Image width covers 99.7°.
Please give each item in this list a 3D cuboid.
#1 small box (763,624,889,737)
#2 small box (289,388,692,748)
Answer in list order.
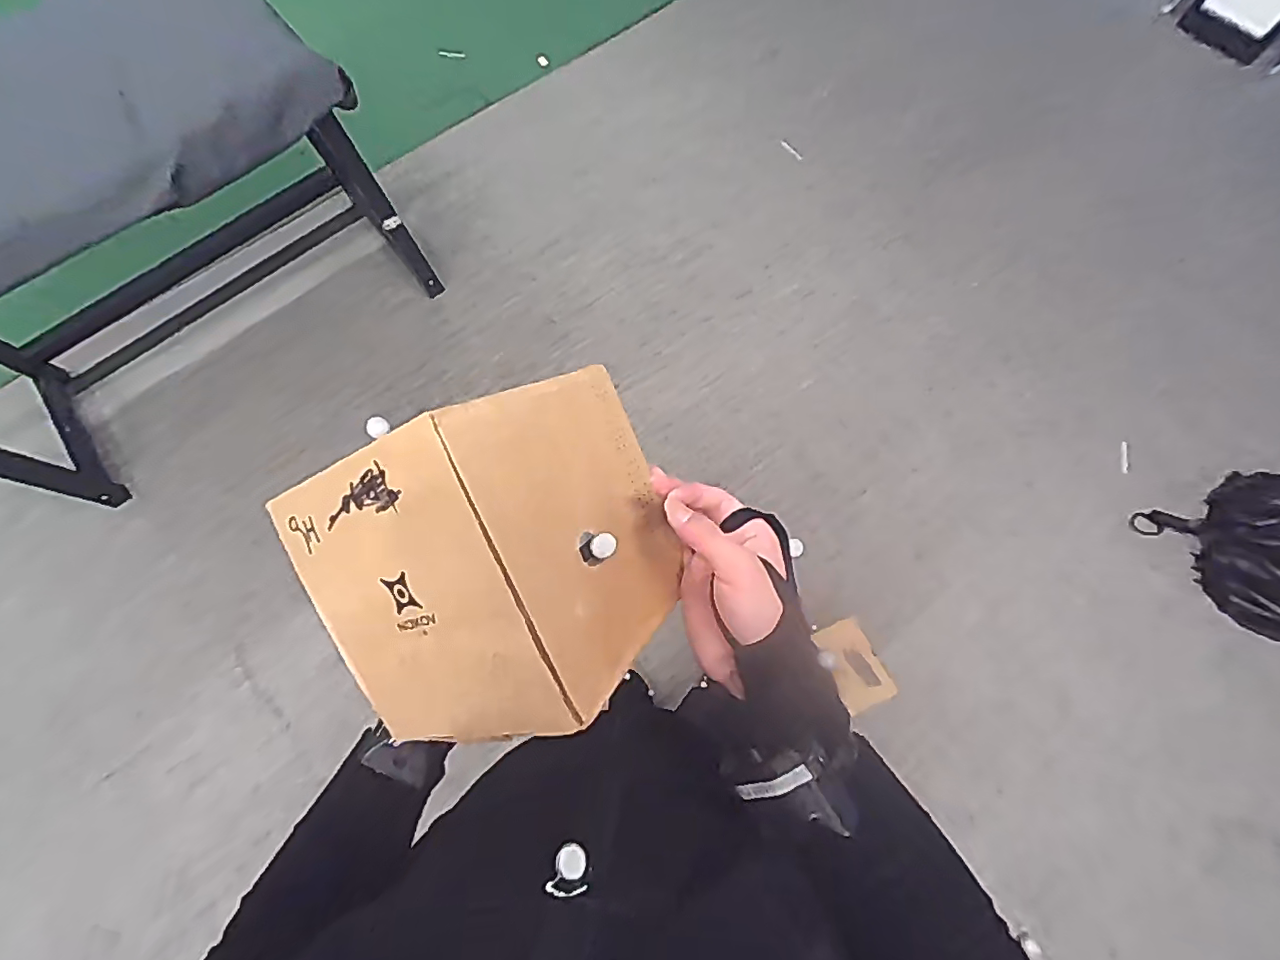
[{"bbox_3d":[0.385,0.422,1.156,0.179,0.176,0.168,-24,71,-5],"label":"small box"},{"bbox_3d":[-0.085,0.054,0.376,0.168,0.176,0.179,-18,100,30],"label":"small box"}]
